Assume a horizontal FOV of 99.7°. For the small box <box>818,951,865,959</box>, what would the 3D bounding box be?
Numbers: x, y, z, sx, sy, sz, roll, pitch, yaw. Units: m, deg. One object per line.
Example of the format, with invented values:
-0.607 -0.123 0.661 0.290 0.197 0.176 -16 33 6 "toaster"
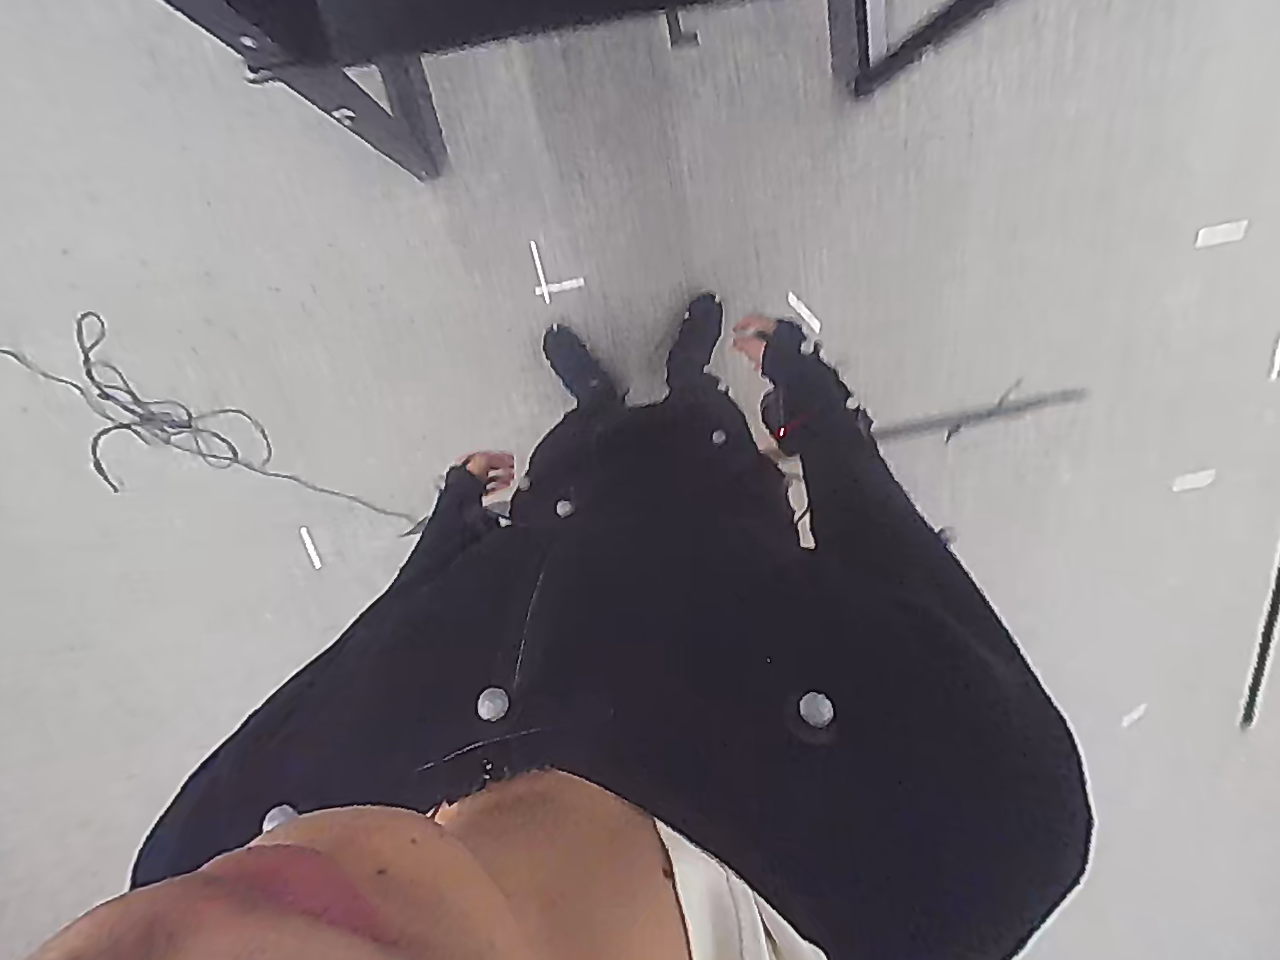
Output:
0.614 1.535 1.577 0.168 0.176 0.179 -13 110 -2 "small box"
